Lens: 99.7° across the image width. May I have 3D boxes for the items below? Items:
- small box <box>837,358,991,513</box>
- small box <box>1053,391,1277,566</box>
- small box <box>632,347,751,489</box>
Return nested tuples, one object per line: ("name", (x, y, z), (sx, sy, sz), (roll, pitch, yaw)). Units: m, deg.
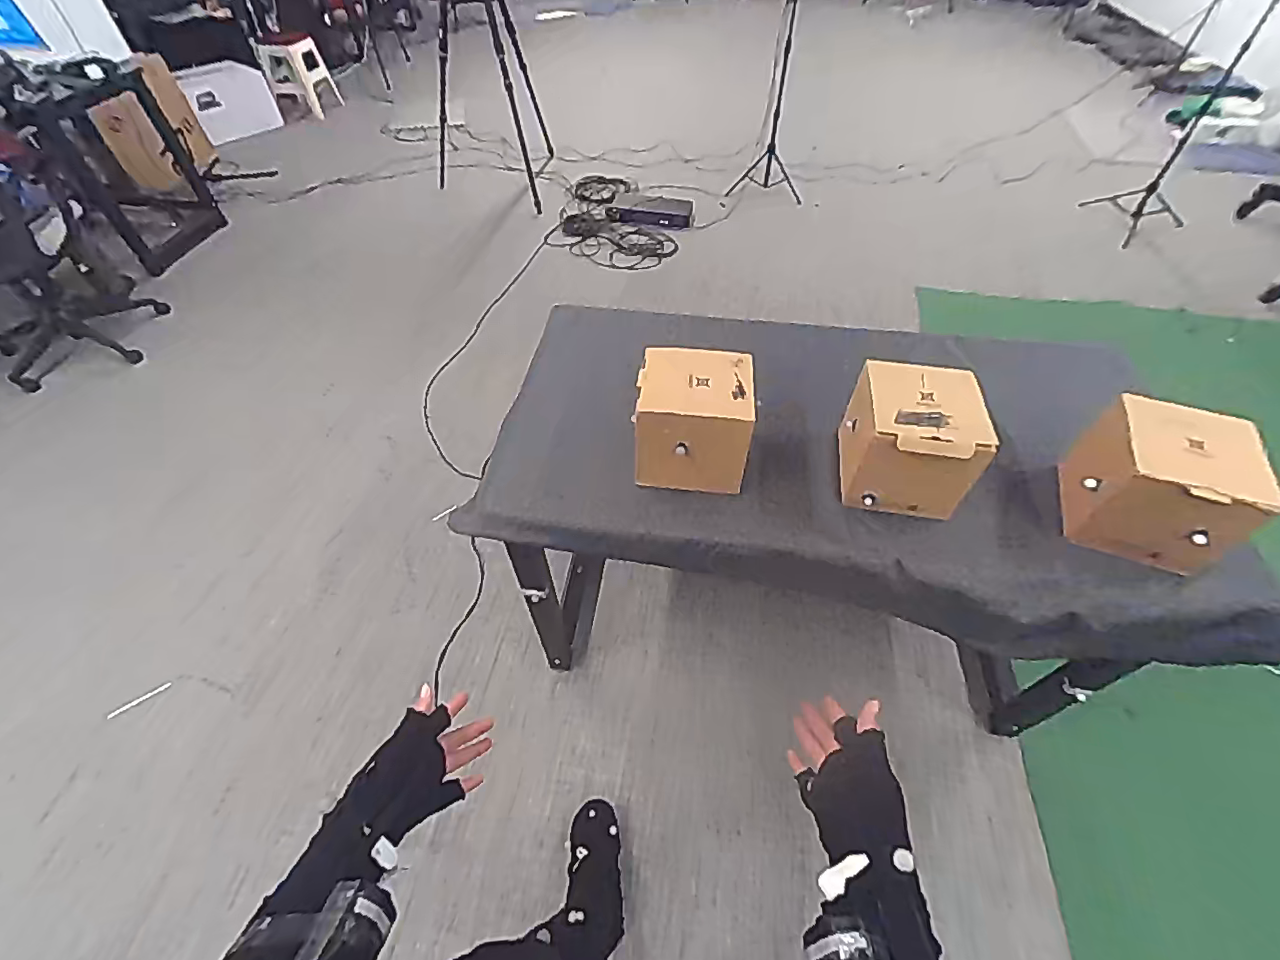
("small box", (0.423, -0.069, 0.868), (0.168, 0.176, 0.179), (8, 50, 7))
("small box", (0.757, 0.001, 0.808), (0.168, 0.176, 0.179), (18, 52, 14))
("small box", (0.085, -0.100, 0.896), (0.179, 0.176, 0.168), (4, 49, 5))
